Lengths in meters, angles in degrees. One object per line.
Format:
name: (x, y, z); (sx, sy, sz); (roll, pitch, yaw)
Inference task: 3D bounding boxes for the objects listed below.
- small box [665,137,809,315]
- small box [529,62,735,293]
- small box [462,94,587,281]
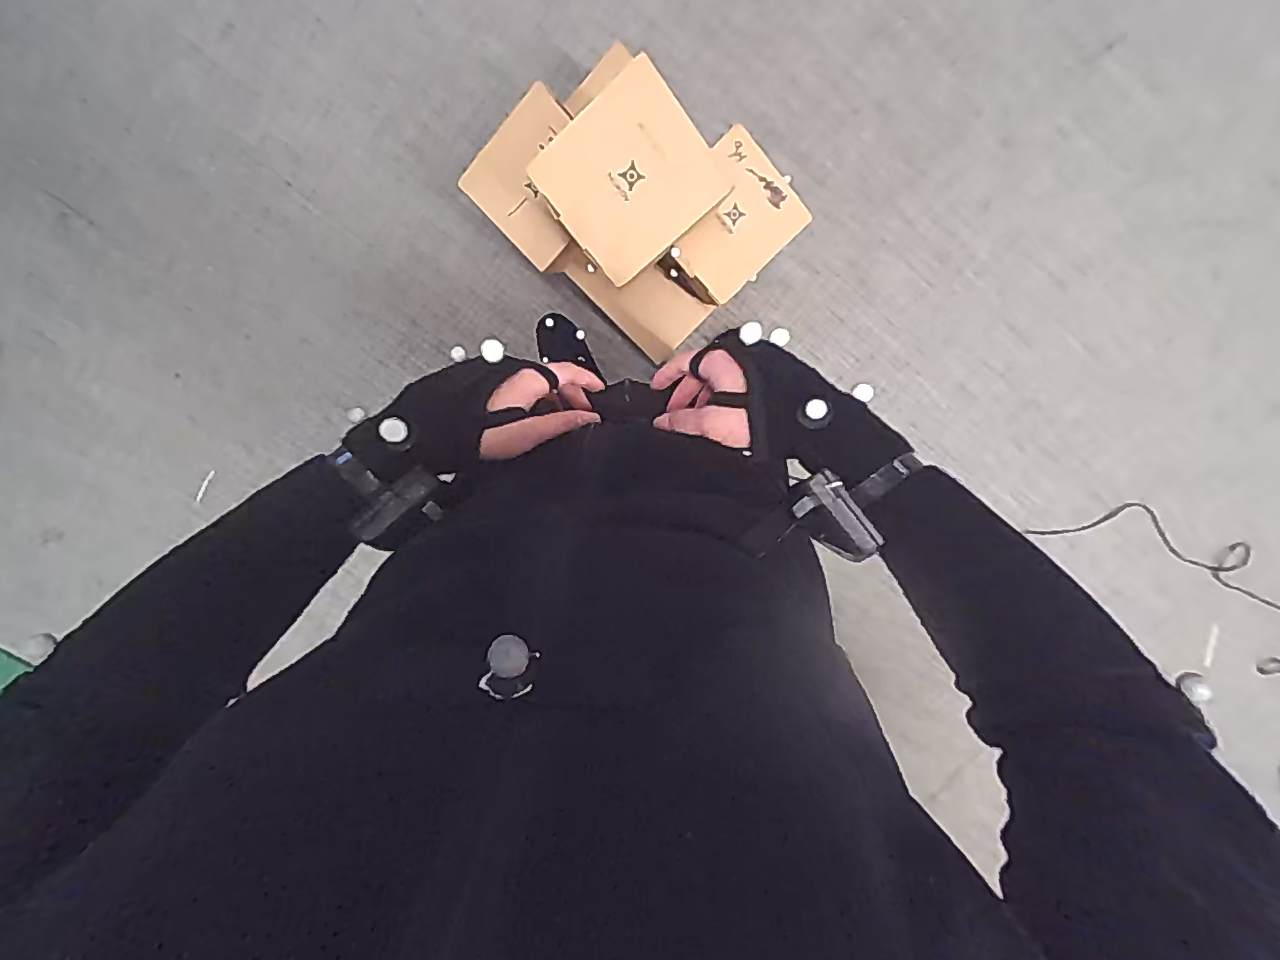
small box: (0.126, -0.377, 0.841); (0.179, 0.176, 0.168); (-42, 102, 12)
small box: (-0.008, -0.353, 0.677); (0.179, 0.176, 0.168); (-38, 105, 11)
small box: (-0.132, -0.429, 0.826); (0.179, 0.176, 0.168); (-41, 103, 15)
